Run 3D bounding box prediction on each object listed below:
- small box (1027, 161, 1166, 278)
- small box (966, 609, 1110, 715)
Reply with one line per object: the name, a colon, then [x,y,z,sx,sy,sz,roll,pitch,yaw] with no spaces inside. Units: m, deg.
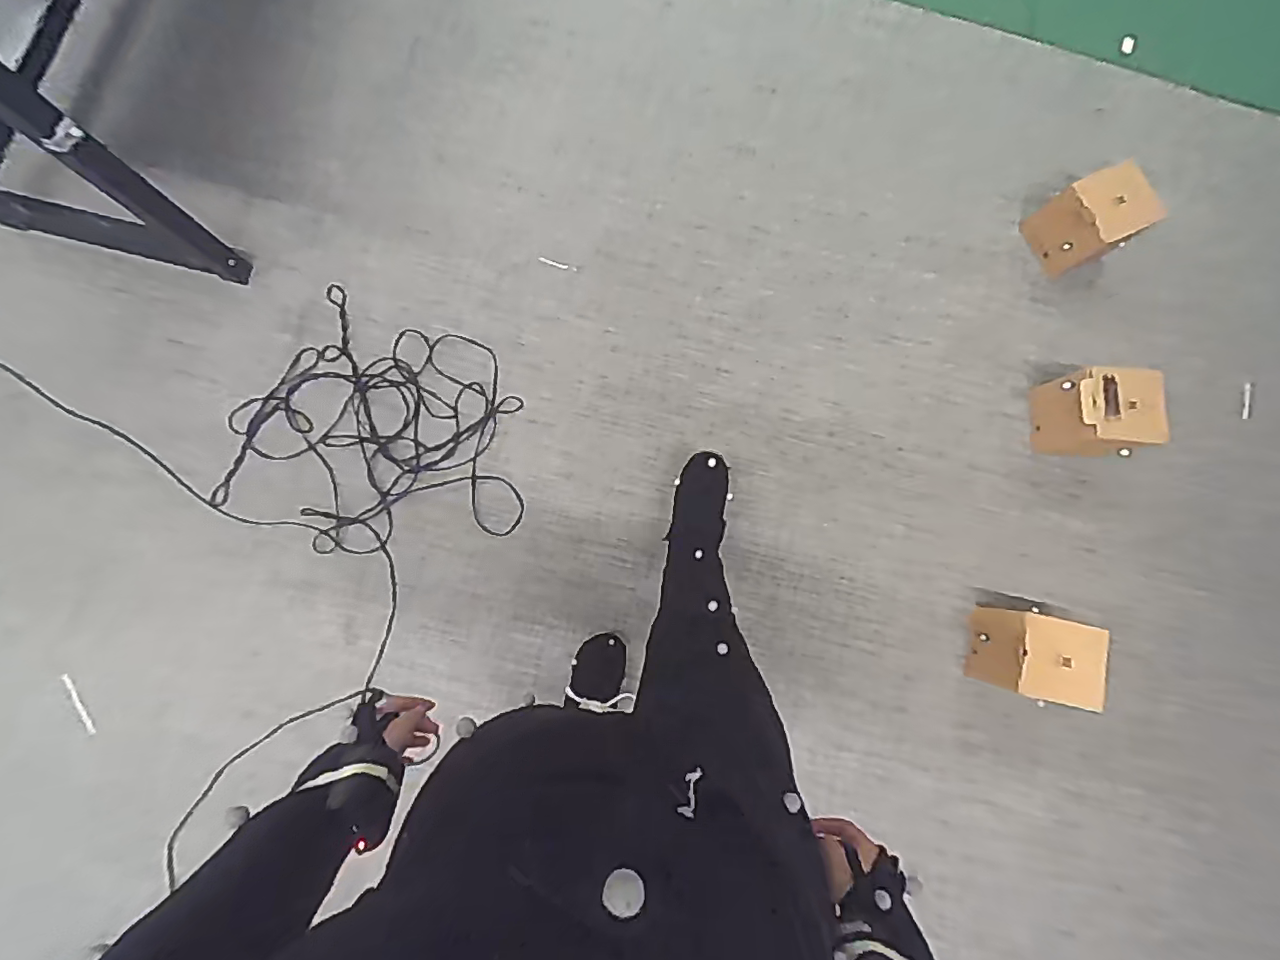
small box: [1.099,-0.629,1.325,0.179,0.176,0.168,-25,85,-8]
small box: [0.843,0.379,1.157,0.179,0.176,0.168,13,81,-1]
